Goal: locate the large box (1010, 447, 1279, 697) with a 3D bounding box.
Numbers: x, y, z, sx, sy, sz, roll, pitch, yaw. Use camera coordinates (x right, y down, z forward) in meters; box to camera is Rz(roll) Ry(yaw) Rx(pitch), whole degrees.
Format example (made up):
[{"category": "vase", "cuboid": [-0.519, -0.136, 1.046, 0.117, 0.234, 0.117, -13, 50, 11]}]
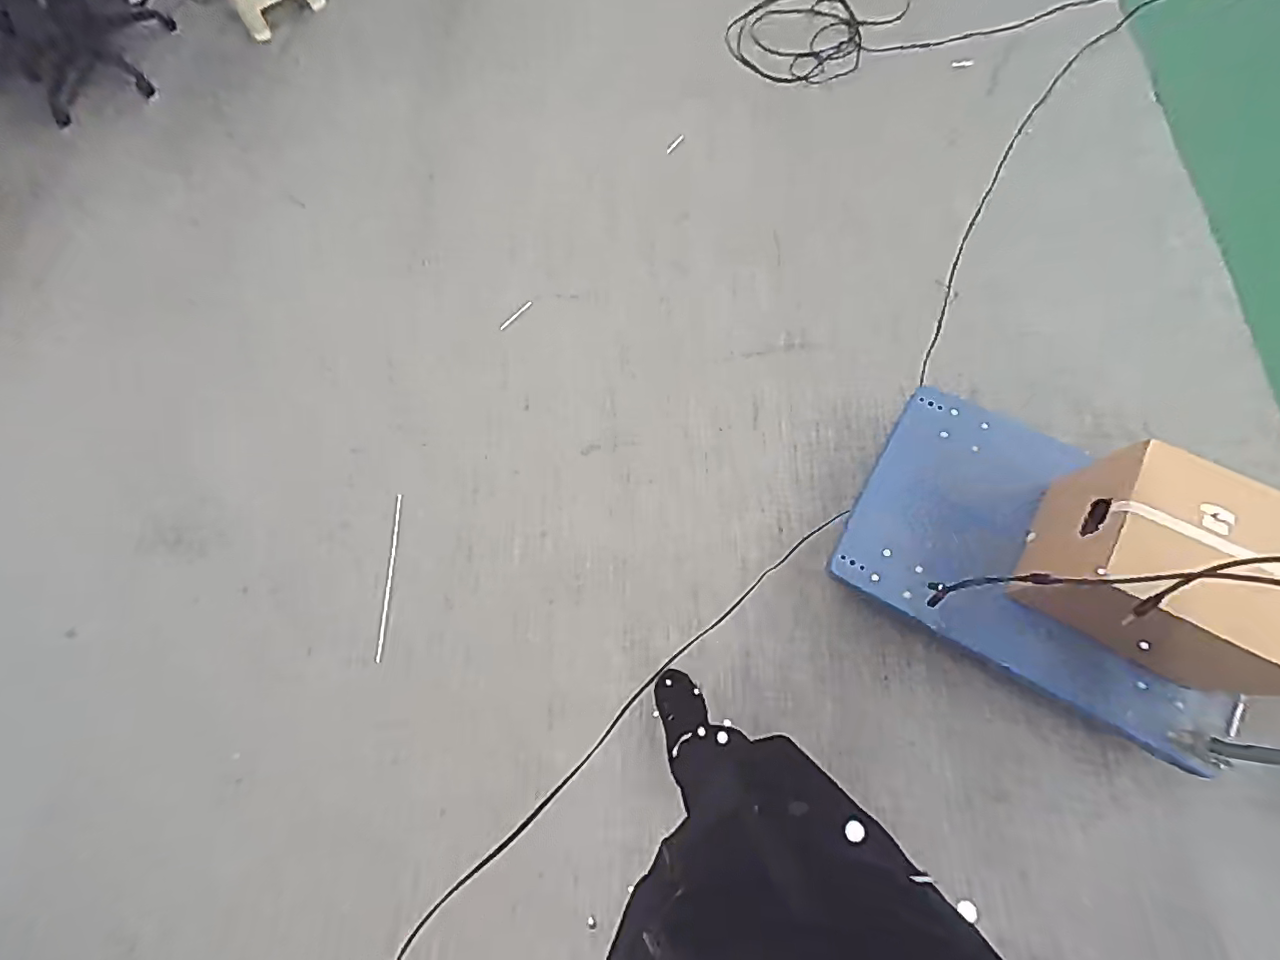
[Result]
[{"category": "large box", "cuboid": [1.073, 0.194, 1.083, 0.408, 0.320, 0.320, 28, 76, 14]}]
